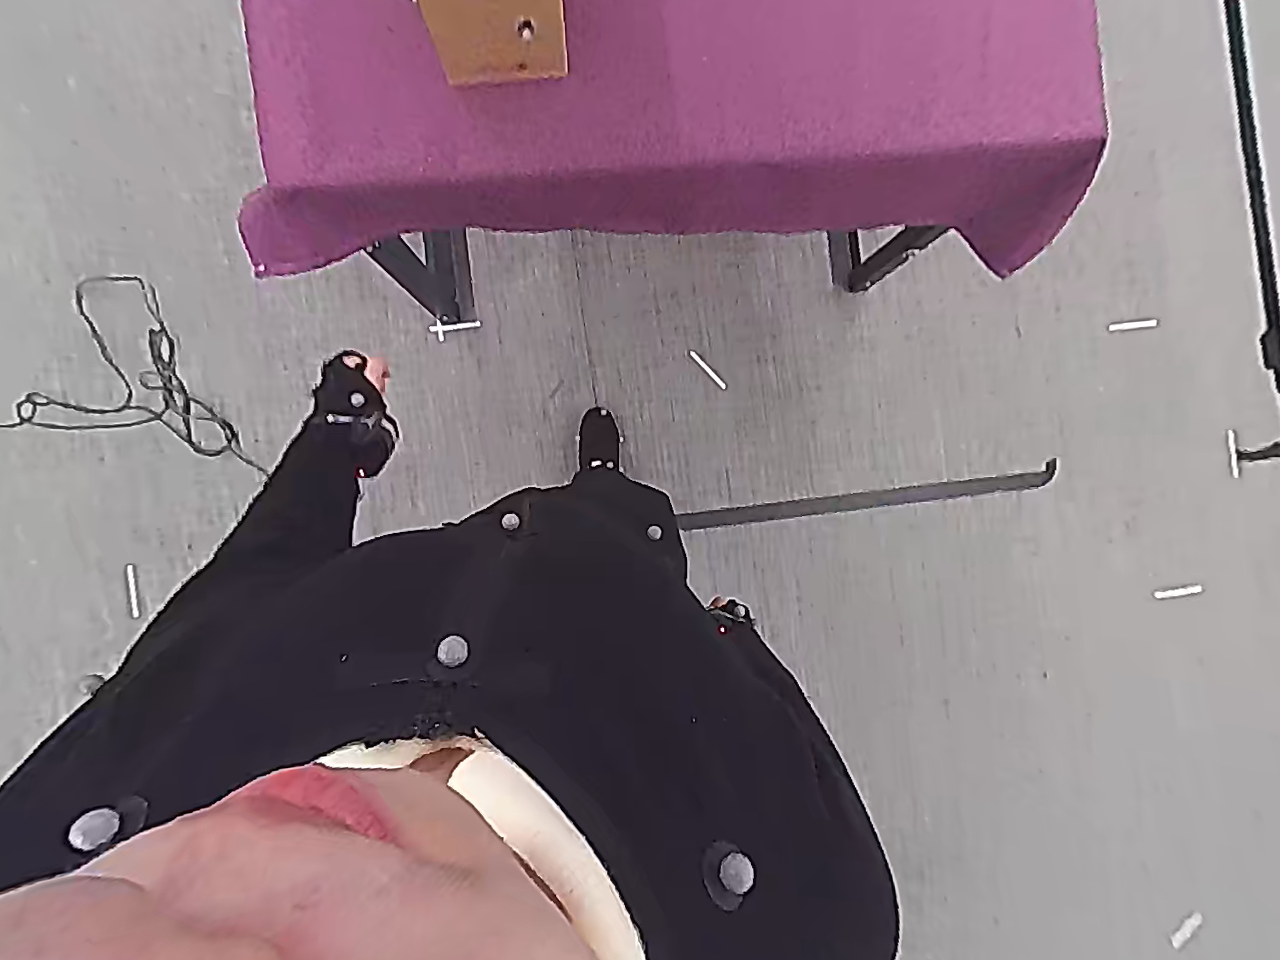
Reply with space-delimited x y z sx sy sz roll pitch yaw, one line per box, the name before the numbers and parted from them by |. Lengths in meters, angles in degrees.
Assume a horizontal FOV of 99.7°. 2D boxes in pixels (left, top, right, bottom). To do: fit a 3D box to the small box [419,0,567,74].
small box | -0.184 -0.641 0.667 0.168 0.176 0.179 -7 91 -4
